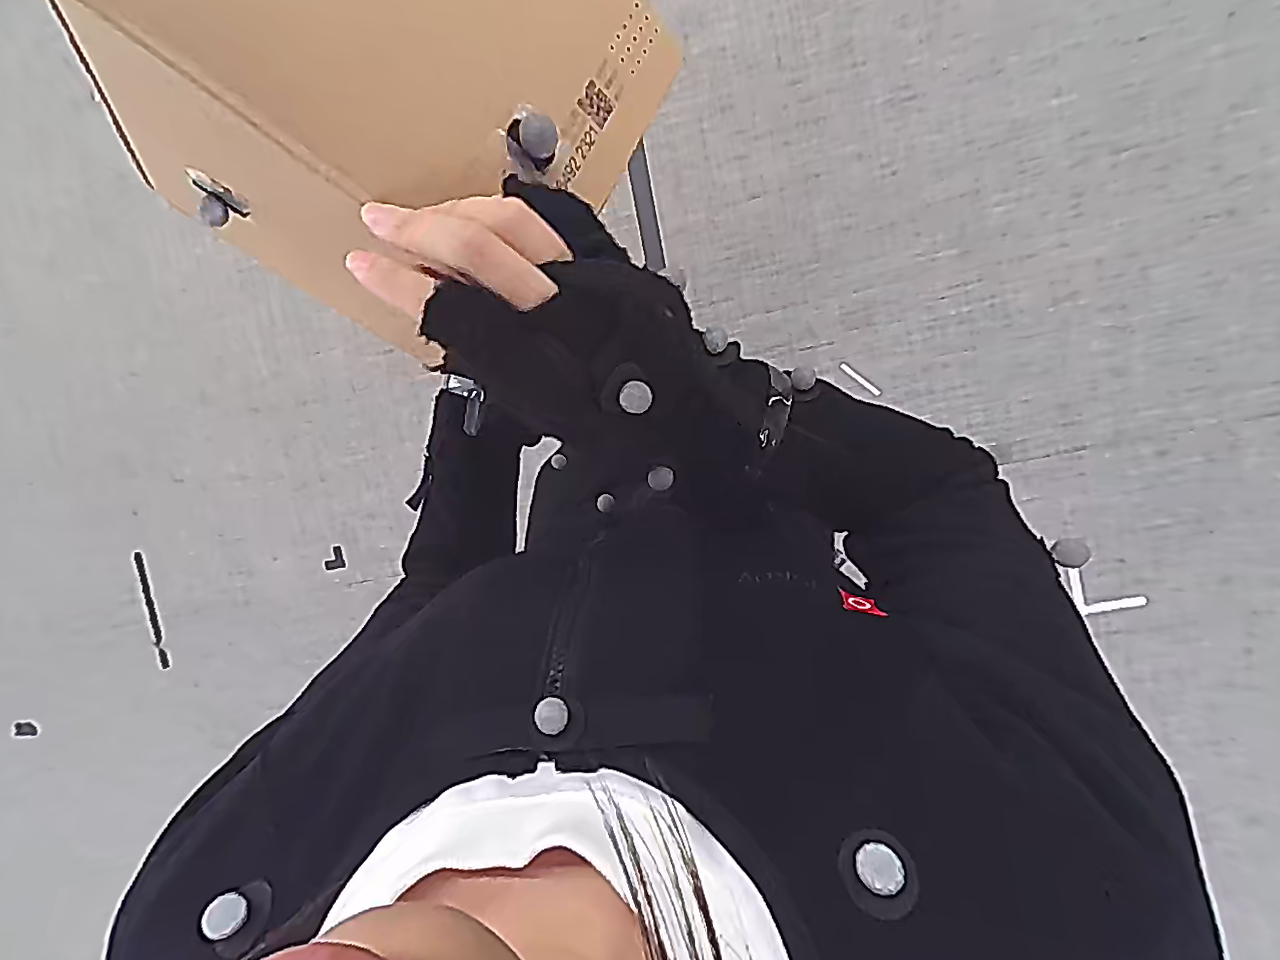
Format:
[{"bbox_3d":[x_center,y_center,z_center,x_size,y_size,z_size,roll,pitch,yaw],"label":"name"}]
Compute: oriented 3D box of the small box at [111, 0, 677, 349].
[{"bbox_3d":[-0.114,-0.188,0.292,0.176,0.179,0.168,32,77,-33],"label":"small box"}]
